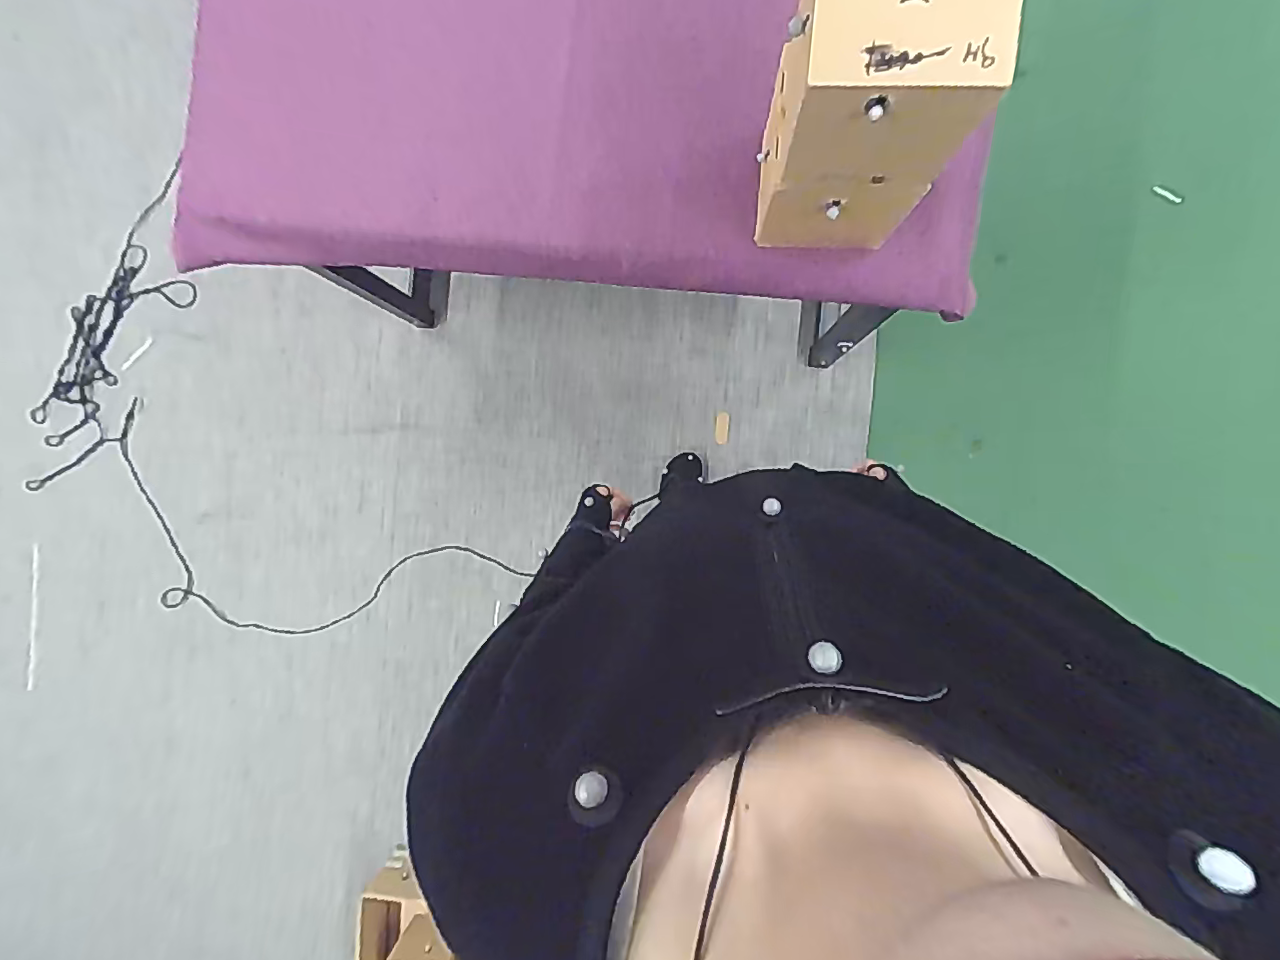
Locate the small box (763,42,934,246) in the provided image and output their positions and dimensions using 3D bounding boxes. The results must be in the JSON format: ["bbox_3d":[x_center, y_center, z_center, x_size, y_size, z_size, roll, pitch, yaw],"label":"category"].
[{"bbox_3d":[0.259,-0.414,0.689,0.179,0.176,0.168,4,92,8],"label":"small box"}]

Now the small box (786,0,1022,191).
[{"bbox_3d":[0.240,-0.414,0.526,0.168,0.176,0.179,5,91,9],"label":"small box"}]
